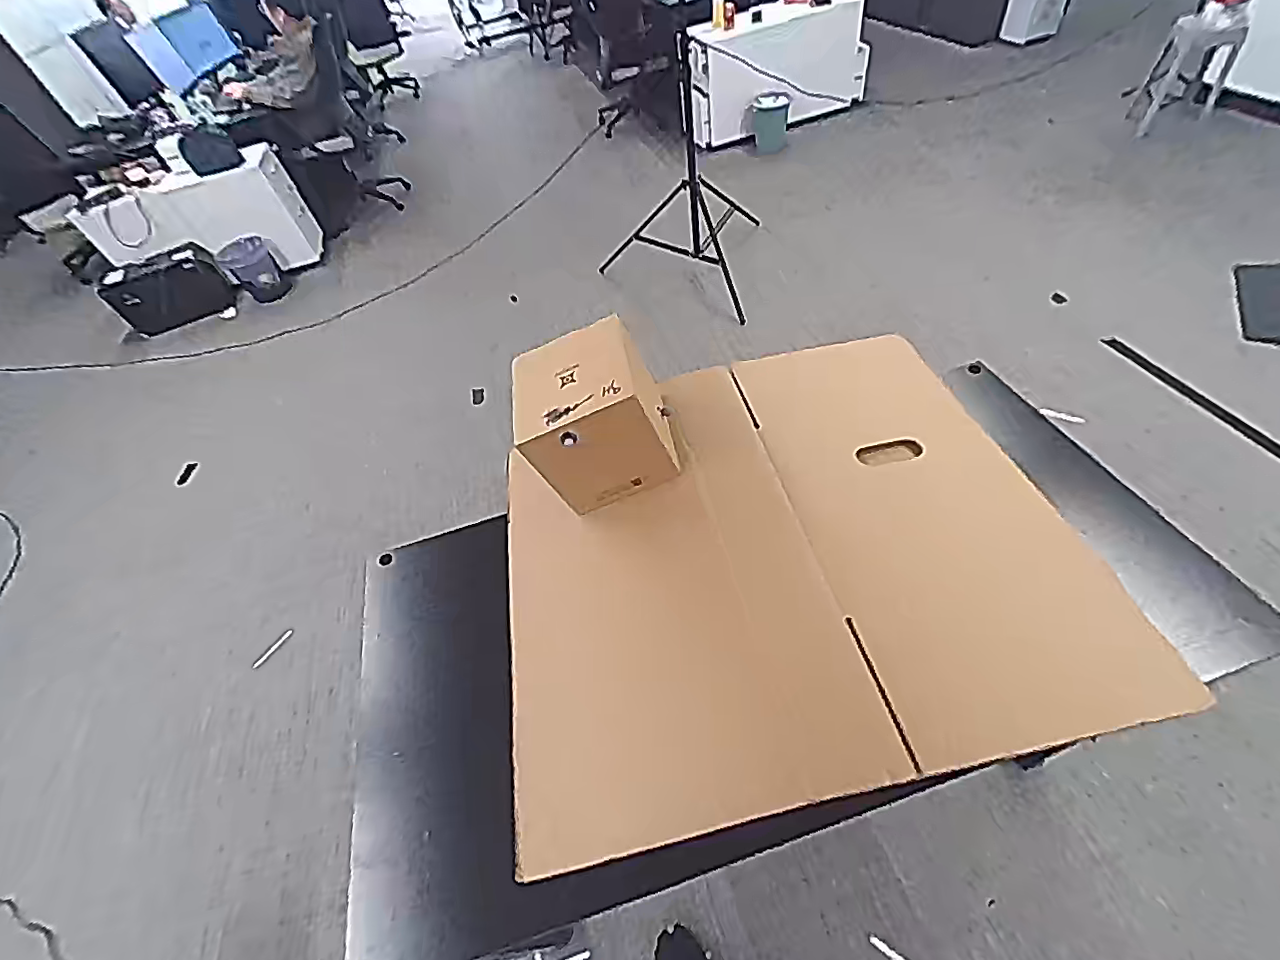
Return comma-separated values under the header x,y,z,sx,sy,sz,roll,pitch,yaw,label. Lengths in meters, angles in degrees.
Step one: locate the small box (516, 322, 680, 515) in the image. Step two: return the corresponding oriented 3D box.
x,y,z,sx,sy,sz,roll,pitch,yaw,label
-0.058,-0.082,0.762,0.168,0.176,0.179,-22,47,12,small box
